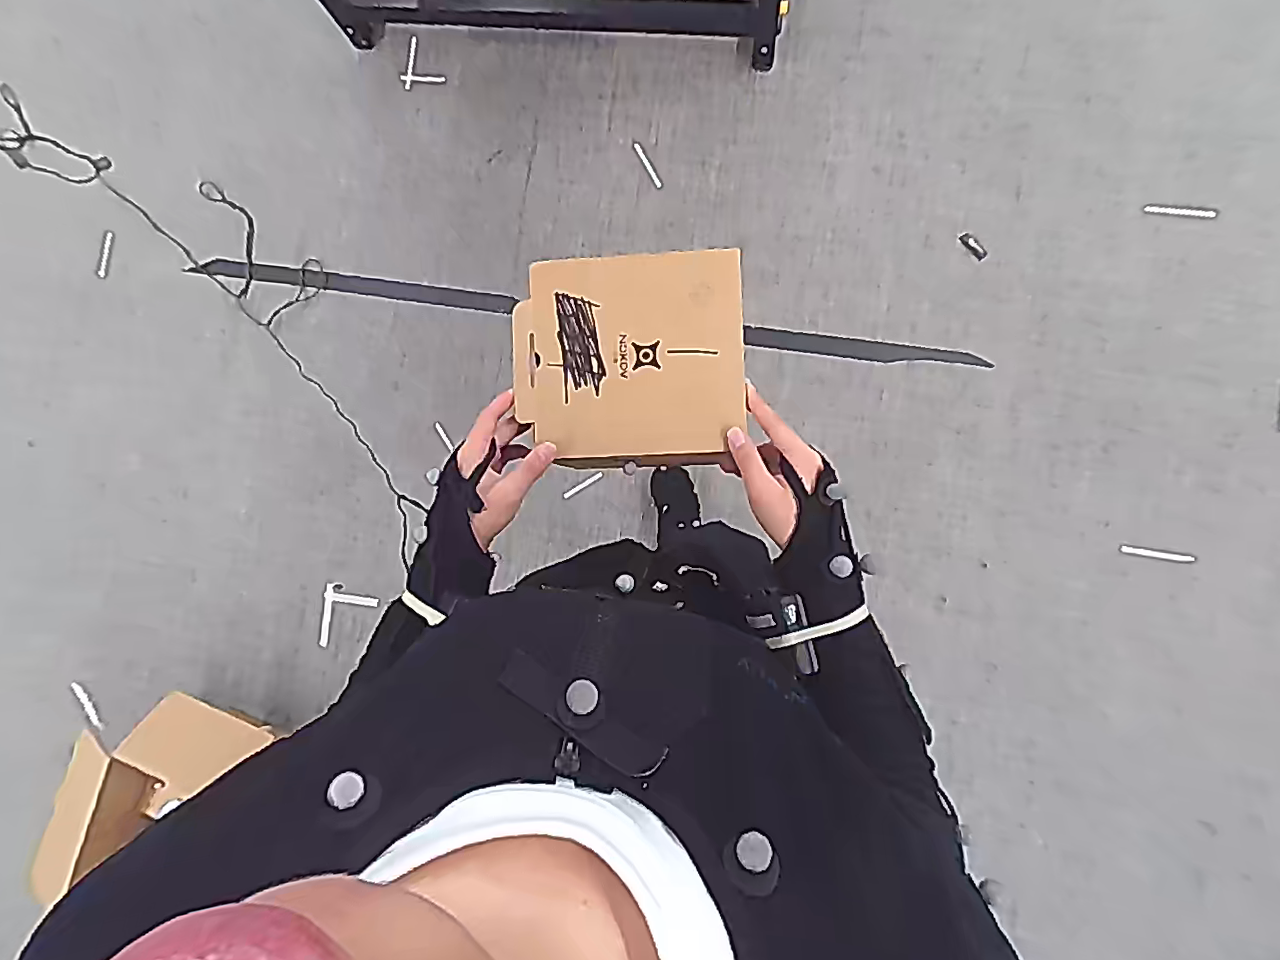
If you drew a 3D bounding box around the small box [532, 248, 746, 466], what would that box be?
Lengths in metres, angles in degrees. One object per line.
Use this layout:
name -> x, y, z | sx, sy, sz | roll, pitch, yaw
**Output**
small box -> 0.004, -0.101, 0.521 | 0.179, 0.176, 0.168 | -2, 88, 4
